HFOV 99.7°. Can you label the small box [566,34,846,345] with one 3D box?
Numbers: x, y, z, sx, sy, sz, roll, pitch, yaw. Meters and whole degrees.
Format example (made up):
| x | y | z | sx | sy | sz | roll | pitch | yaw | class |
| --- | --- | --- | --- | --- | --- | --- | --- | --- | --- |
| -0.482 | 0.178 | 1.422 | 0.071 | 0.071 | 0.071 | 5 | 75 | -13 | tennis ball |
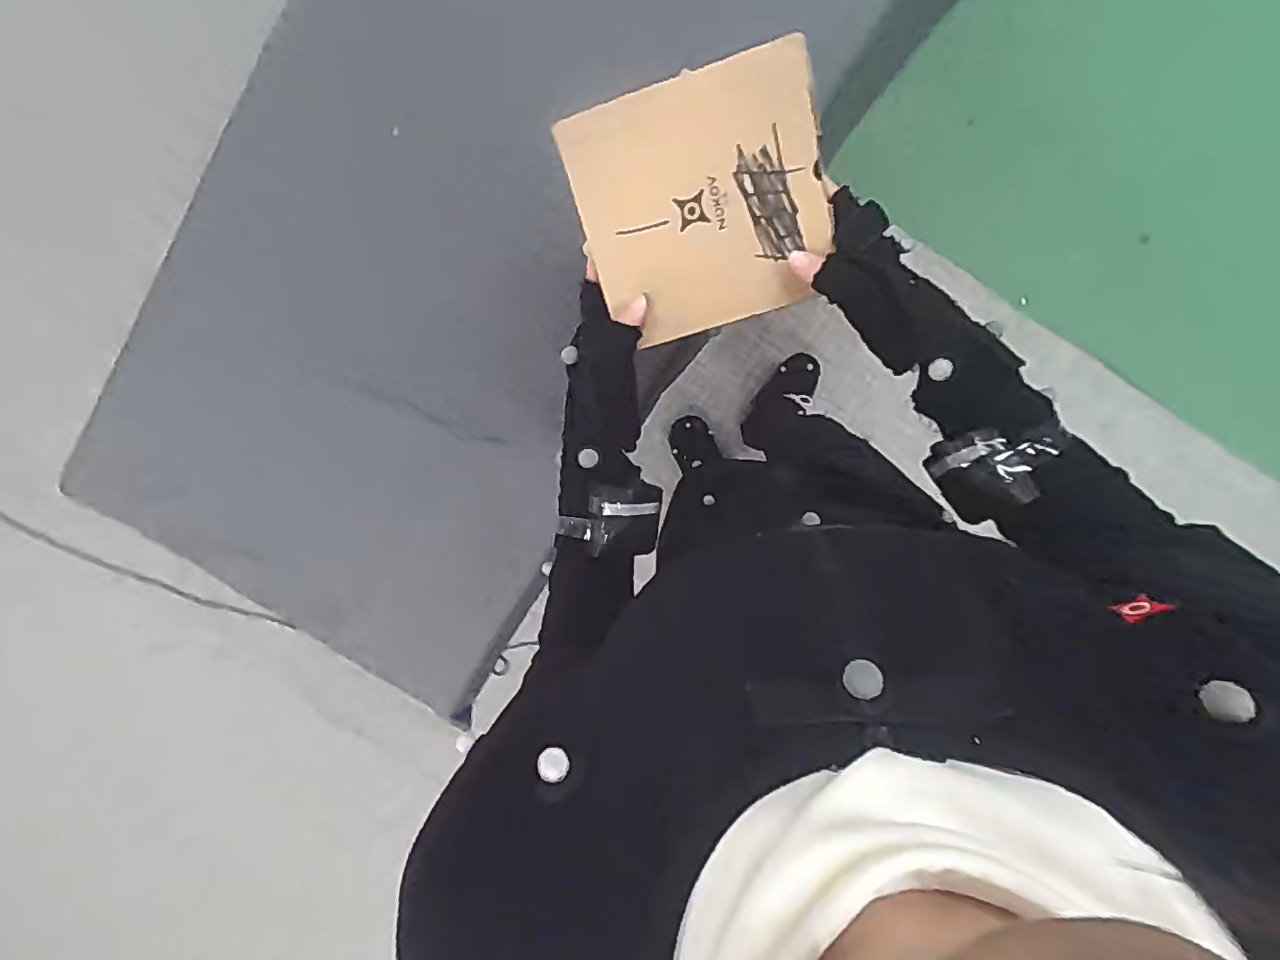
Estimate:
| x | y | z | sx | sy | sz | roll | pitch | yaw | class |
| --- | --- | --- | --- | --- | --- | --- | --- | --- | --- |
| 0.053 | -0.227 | 0.459 | 0.179 | 0.176 | 0.168 | -13 | 110 | 8 | small box |
